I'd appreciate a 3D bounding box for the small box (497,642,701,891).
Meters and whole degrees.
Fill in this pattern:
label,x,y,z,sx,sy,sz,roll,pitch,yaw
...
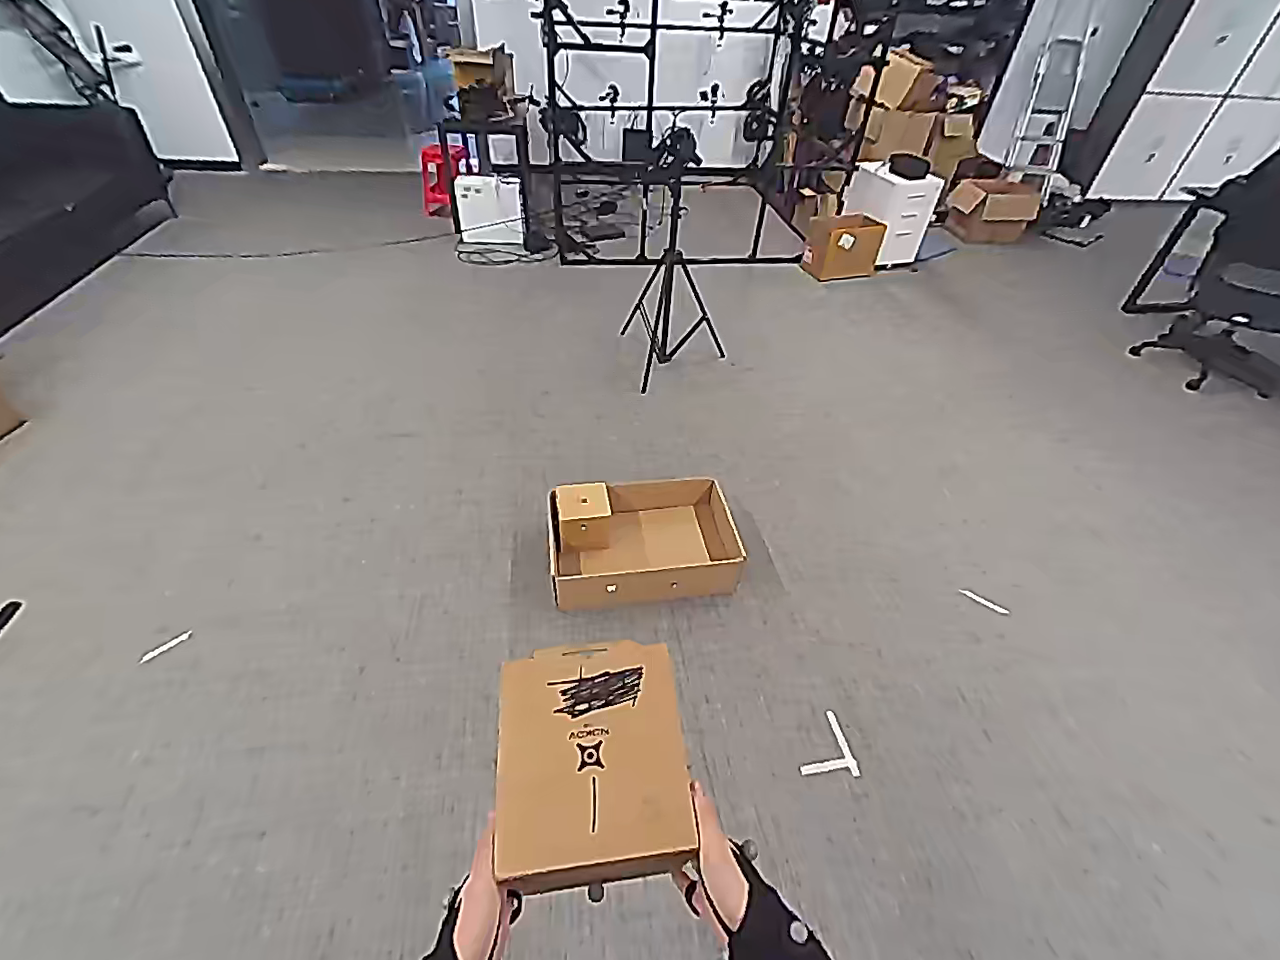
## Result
label,x,y,z,sx,sy,sz,roll,pitch,yaw
small box,-0.044,0.285,0.540,0.168,0.176,0.179,-5,50,-6
